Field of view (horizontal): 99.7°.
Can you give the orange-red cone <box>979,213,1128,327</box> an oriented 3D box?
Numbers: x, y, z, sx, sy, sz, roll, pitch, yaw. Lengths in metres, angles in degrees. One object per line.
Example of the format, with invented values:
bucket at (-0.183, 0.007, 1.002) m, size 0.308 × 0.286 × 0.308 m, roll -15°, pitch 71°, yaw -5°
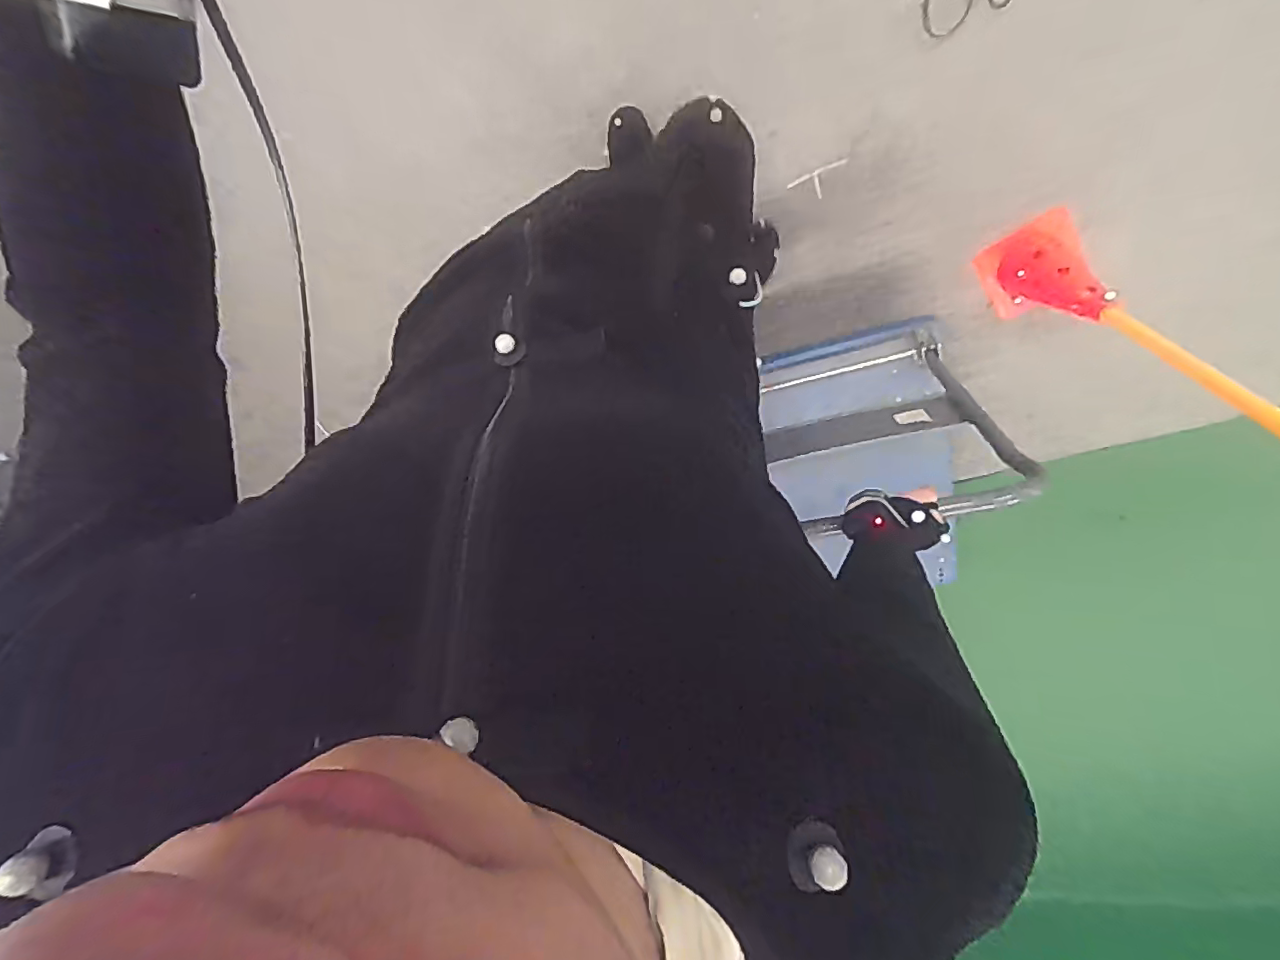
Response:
orange-red cone at (0.923, -0.409, 1.161) m, size 0.199 × 0.360 × 0.198 m, roll -30°, pitch 116°, yaw 25°
